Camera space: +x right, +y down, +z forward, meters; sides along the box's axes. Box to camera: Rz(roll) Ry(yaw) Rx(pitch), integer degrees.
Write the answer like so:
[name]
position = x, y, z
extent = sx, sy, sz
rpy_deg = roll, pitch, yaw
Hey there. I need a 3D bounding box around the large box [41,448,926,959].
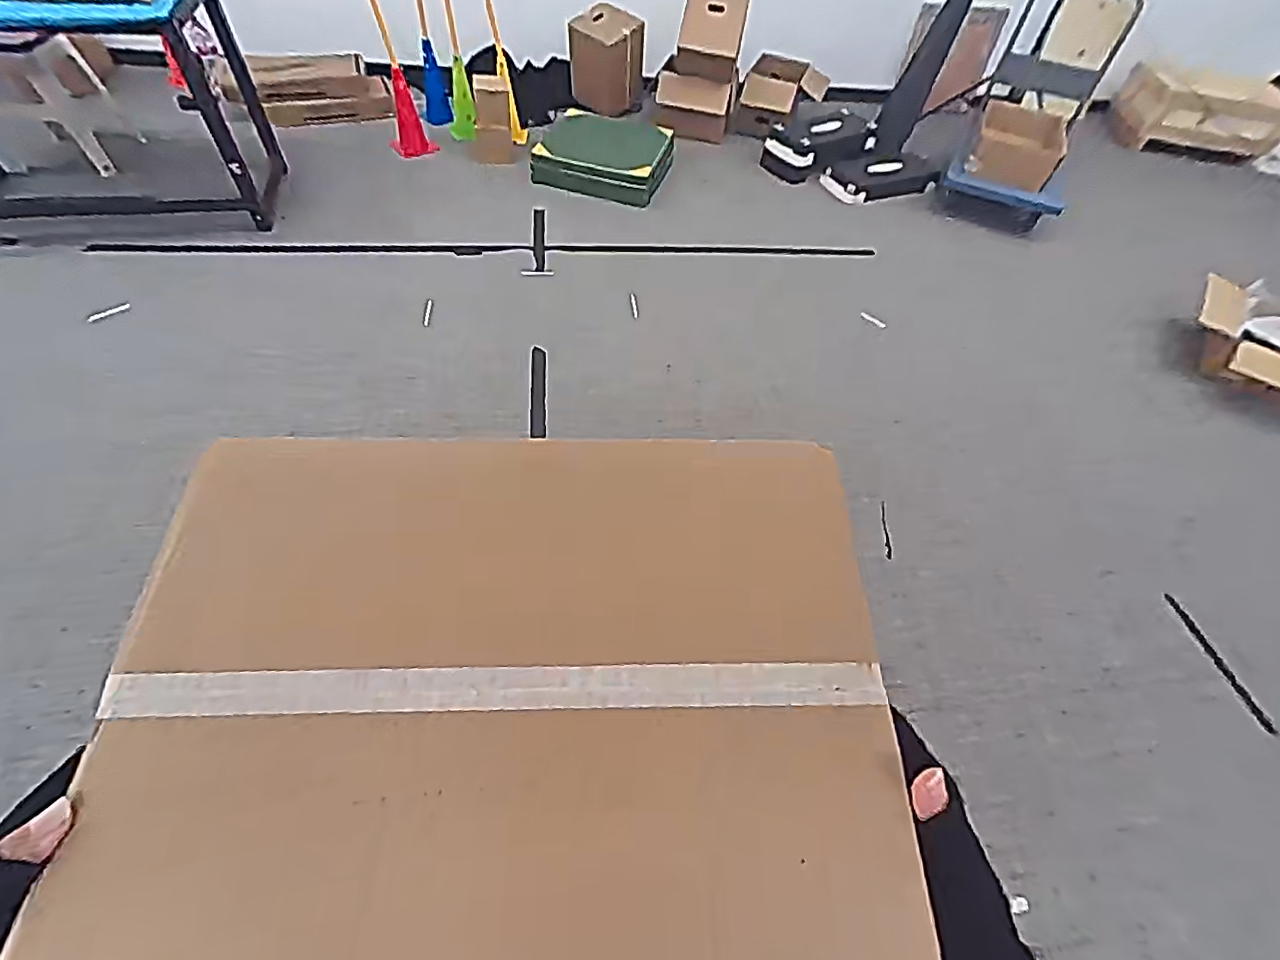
[large box]
position = -0.075, 0.184, 0.431
extent = 0.408, 0.320, 0.320
rpy_deg = 0, 63, -2
